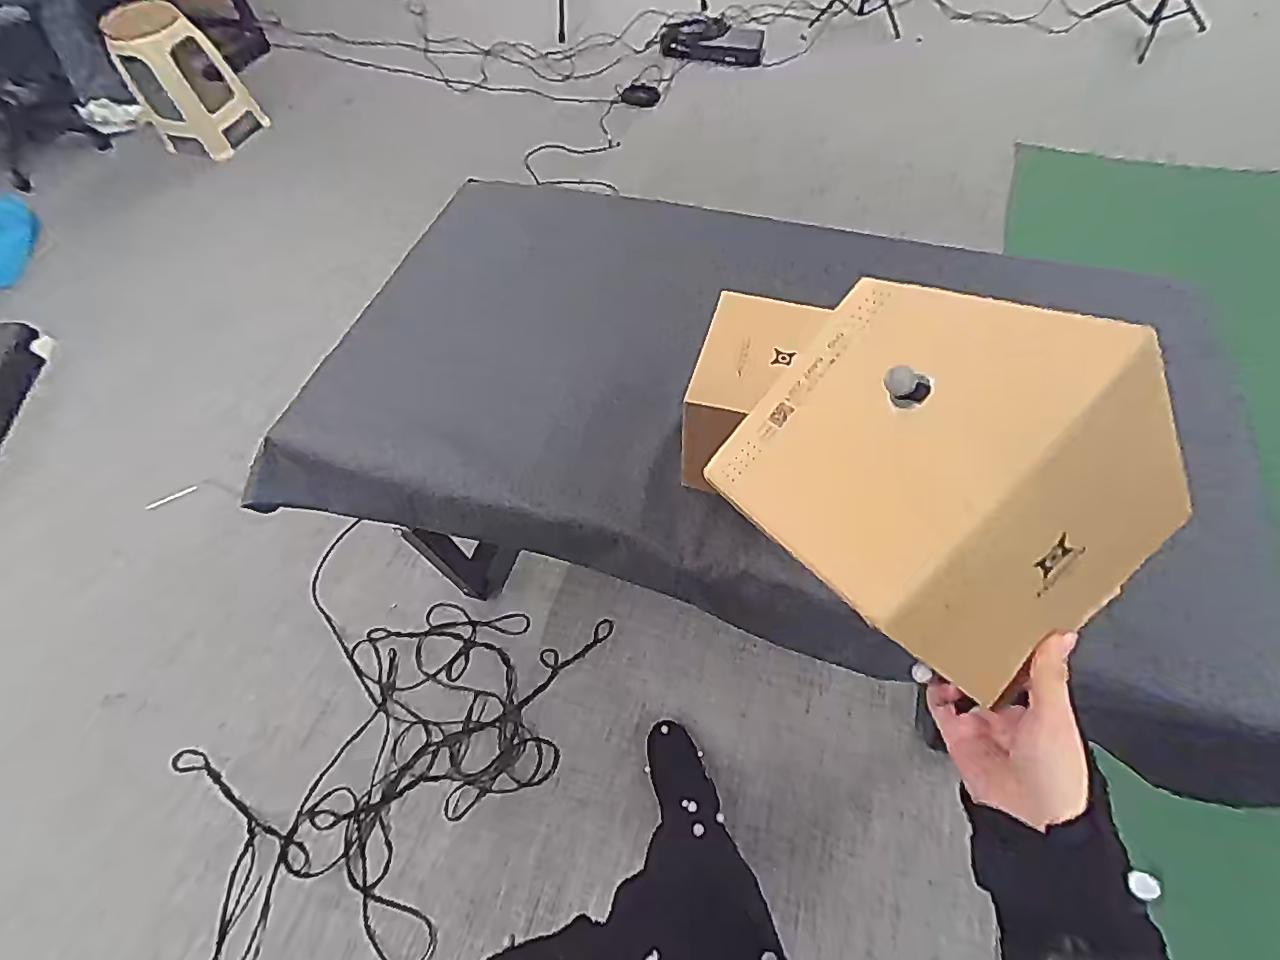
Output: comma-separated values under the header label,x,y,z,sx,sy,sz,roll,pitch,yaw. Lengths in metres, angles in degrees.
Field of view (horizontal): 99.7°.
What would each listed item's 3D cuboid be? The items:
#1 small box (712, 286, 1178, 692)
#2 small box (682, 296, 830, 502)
label,x,y,z,sx,sy,sz,roll,pitch,yaw
small box,0.179,-0.004,0.346,0.168,0.179,0.176,-52,35,6
small box,0.153,-0.078,0.619,0.179,0.176,0.168,13,60,12
